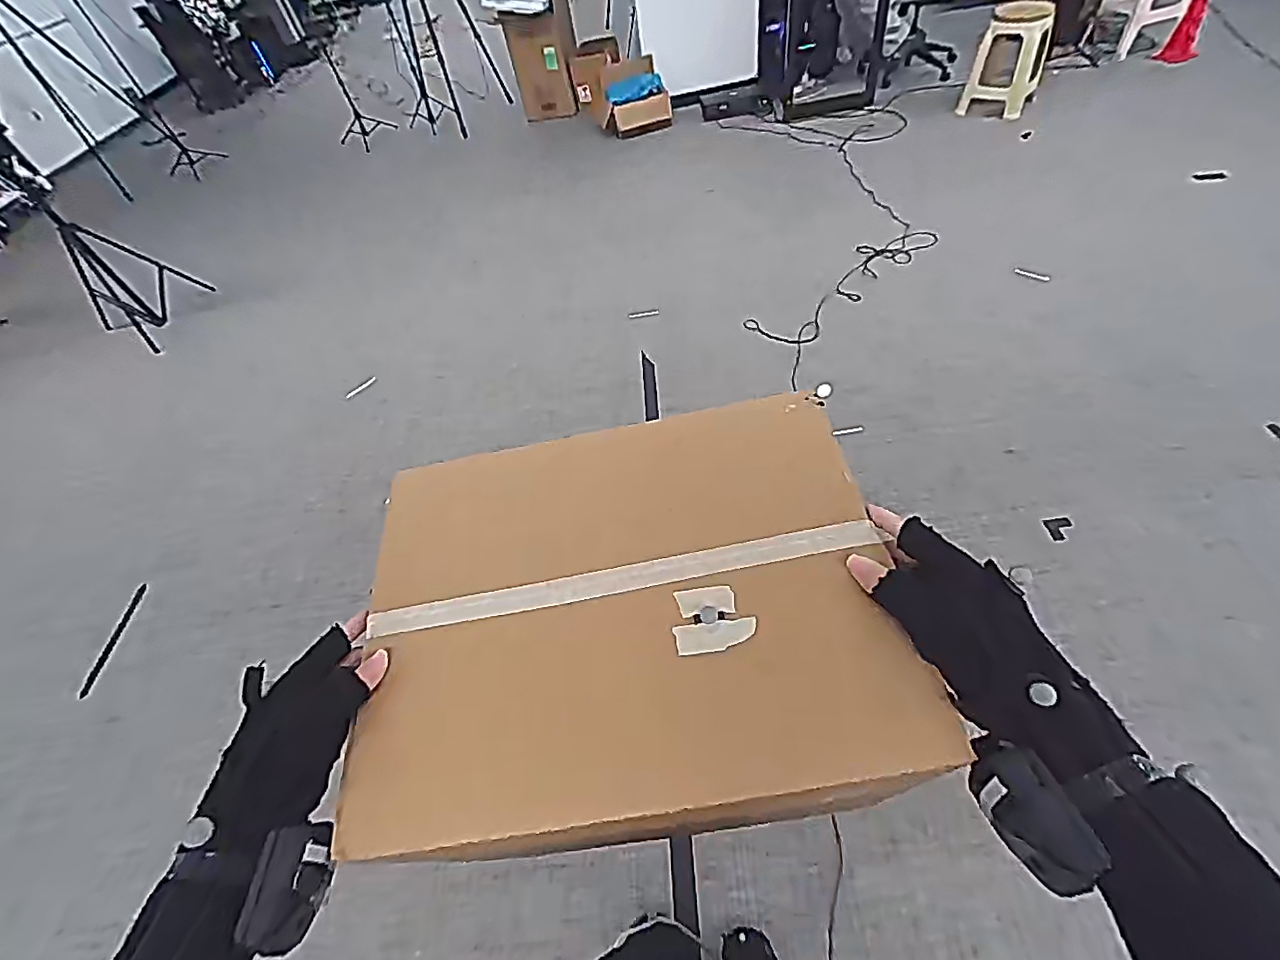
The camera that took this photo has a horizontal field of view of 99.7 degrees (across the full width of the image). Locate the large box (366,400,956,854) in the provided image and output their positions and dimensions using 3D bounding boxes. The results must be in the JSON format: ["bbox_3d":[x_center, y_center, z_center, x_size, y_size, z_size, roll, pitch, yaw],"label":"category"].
[{"bbox_3d":[0.011,0.168,0.557,0.408,0.320,0.320,-11,55,3],"label":"large box"}]
